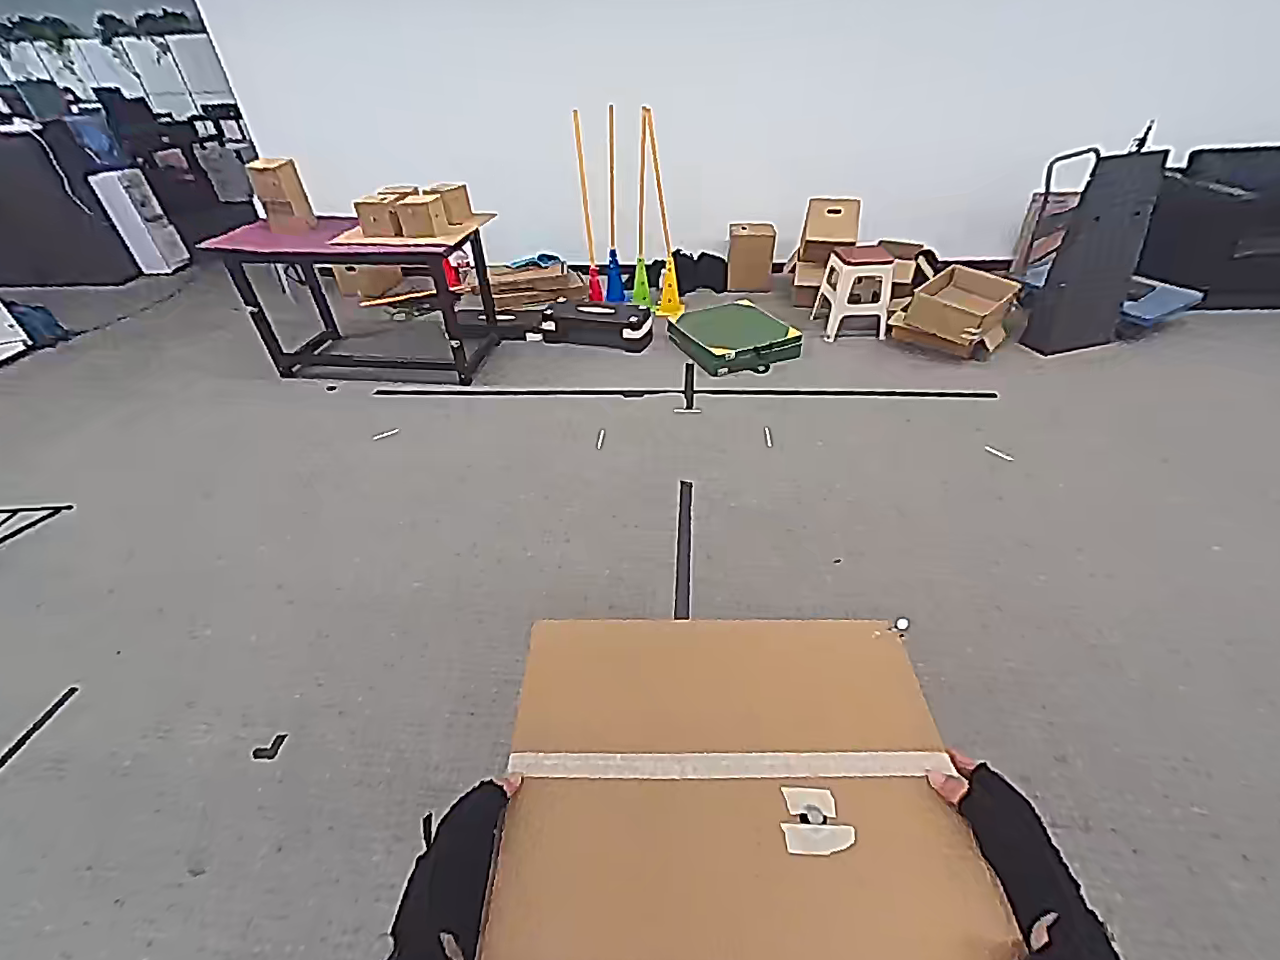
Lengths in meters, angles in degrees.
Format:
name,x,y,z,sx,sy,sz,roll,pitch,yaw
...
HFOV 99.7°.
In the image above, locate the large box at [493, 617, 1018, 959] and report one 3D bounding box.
name,x,y,z,sx,sy,sz,roll,pitch,yaw
large box,0.087,0.373,0.610,0.408,0.320,0.320,0,43,1
